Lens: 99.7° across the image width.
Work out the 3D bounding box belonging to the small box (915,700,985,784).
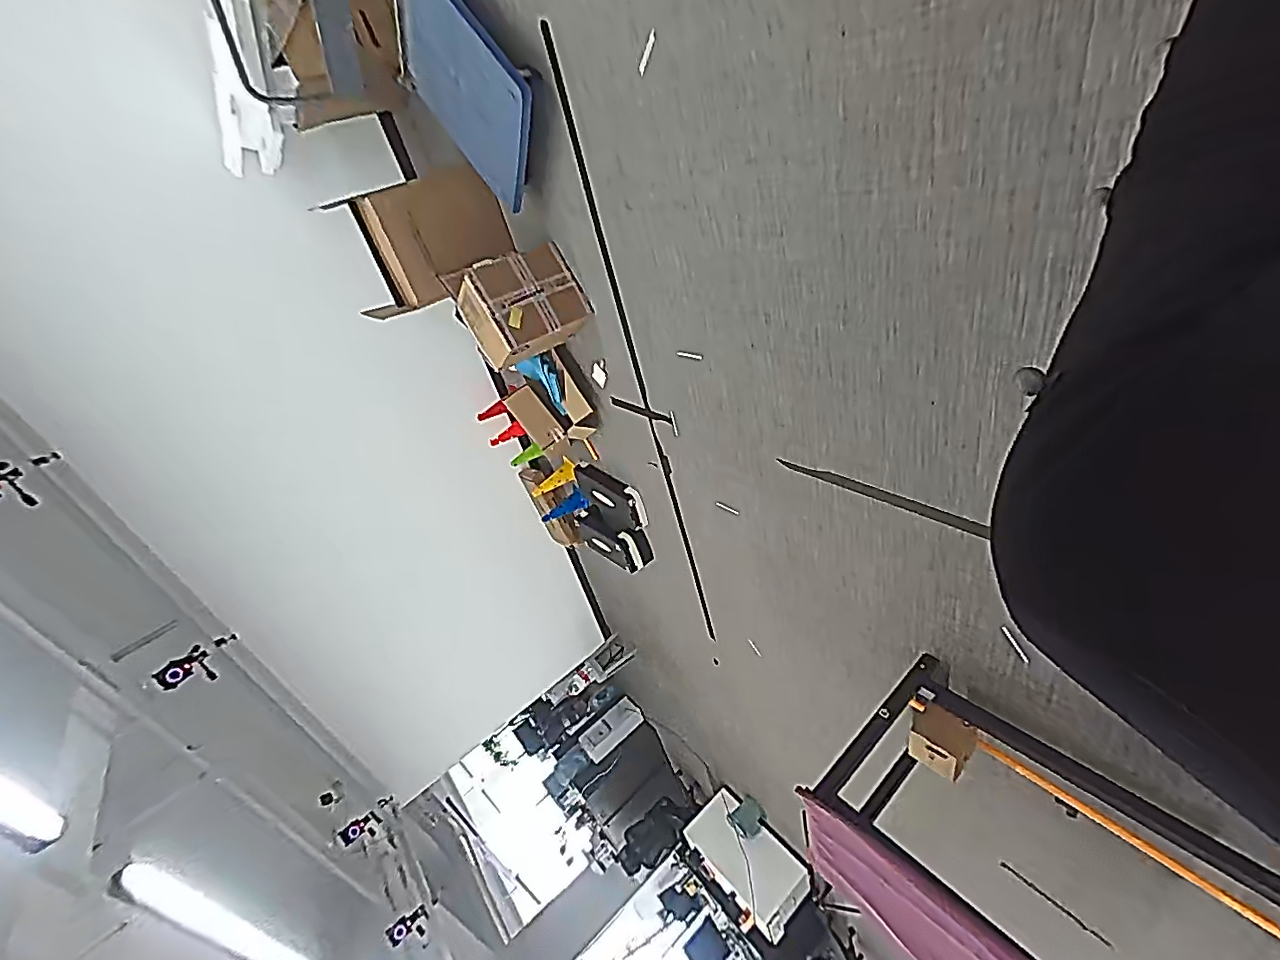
[{"bbox_3d":[1.112,0.932,1.940,0.168,0.176,0.179,26,142,47],"label":"small box"}]
